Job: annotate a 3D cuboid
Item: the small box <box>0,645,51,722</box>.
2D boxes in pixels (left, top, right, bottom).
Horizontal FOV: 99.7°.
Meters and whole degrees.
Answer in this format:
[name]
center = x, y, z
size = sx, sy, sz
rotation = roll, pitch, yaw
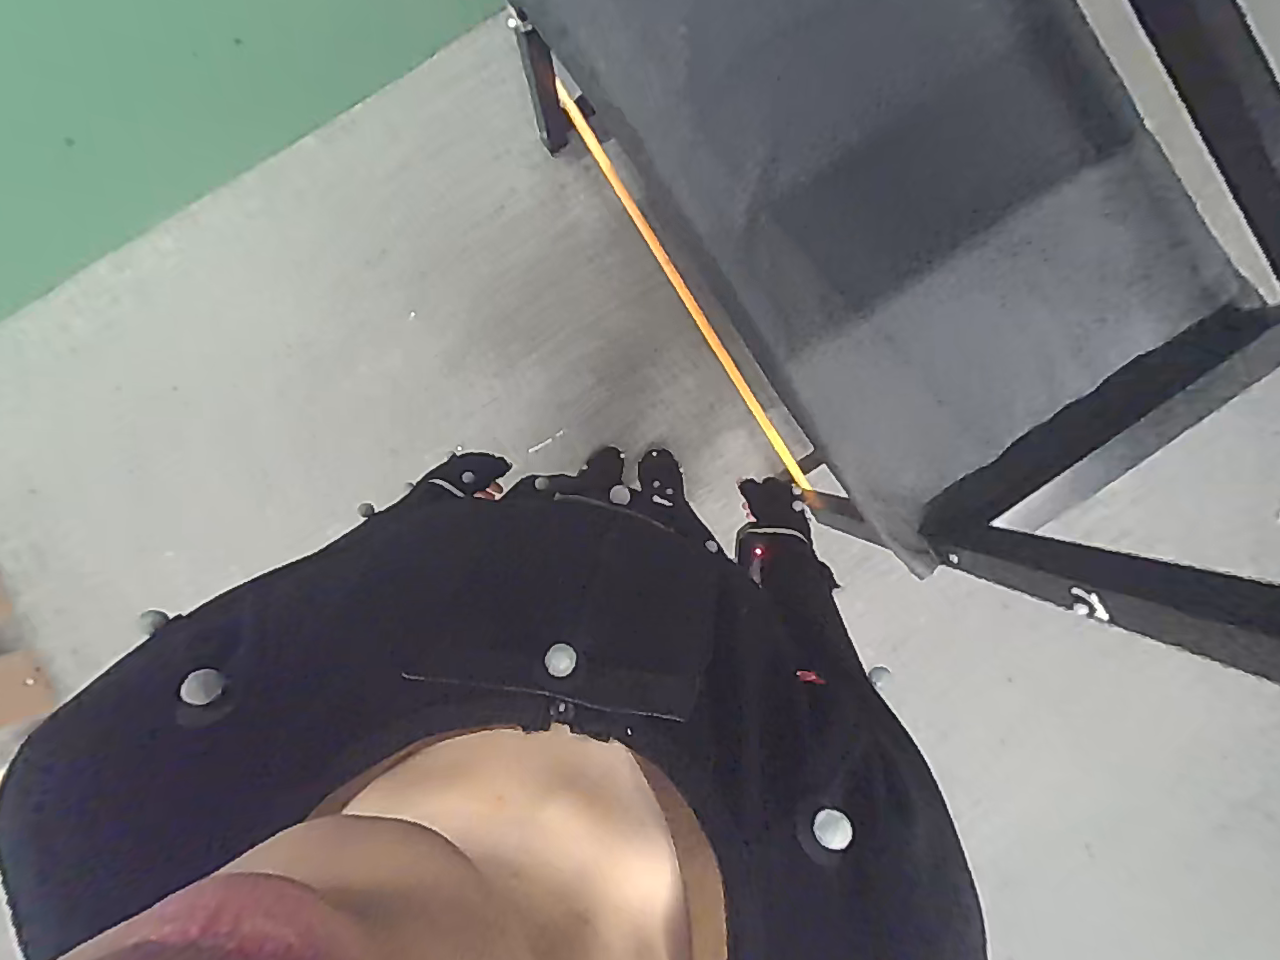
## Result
[small box]
center = -1.657, 0.539, 1.343
size = 0.179, 0.176, 0.168
rotation = -24, 95, -2
